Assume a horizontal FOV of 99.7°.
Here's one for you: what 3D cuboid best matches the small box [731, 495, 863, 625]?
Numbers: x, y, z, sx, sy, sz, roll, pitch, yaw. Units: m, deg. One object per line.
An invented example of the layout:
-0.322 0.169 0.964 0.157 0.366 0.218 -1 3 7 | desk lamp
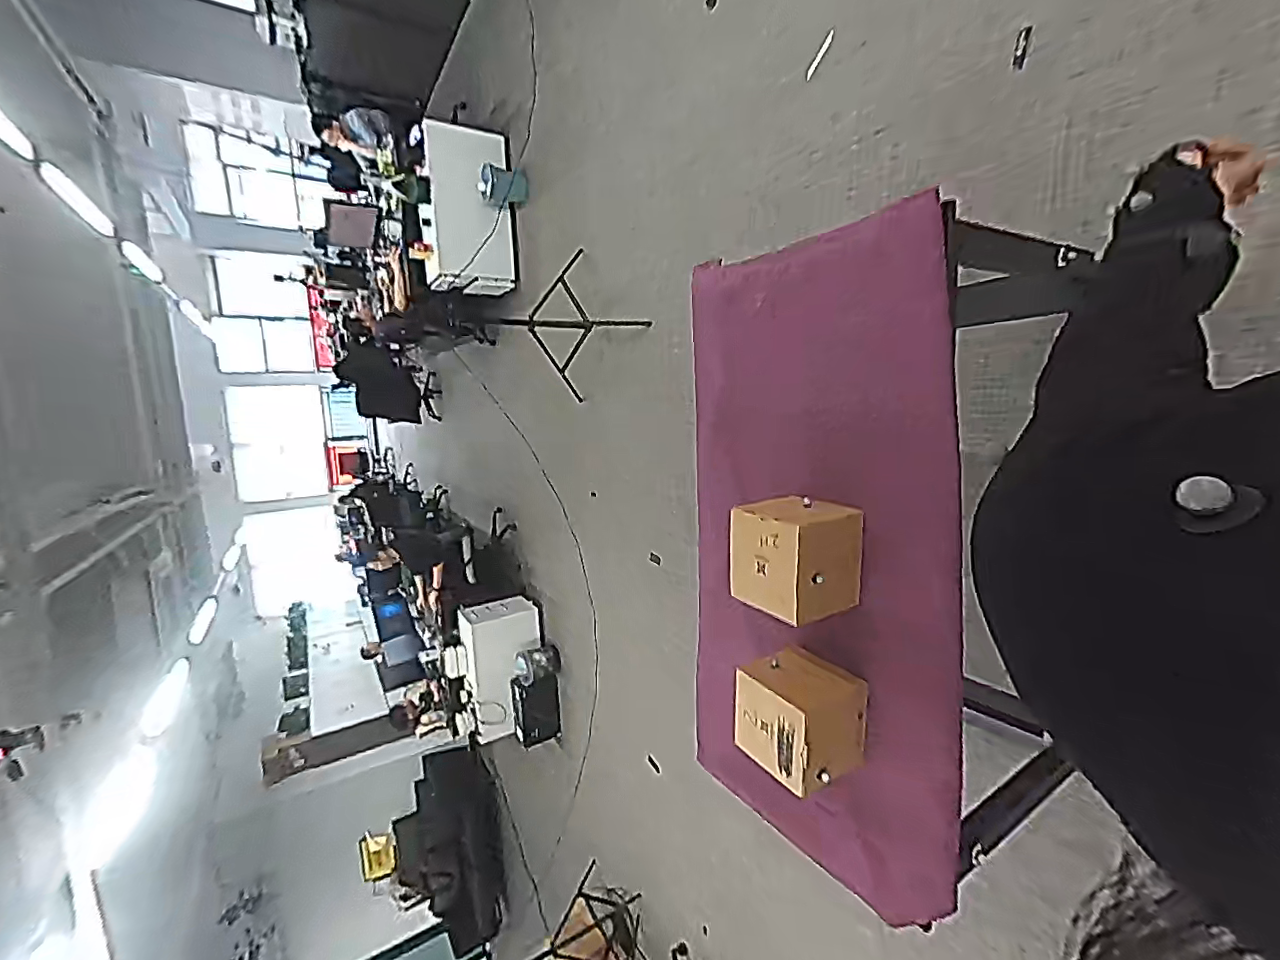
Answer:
0.285 0.135 0.985 0.168 0.176 0.179 16 110 56 | small box
